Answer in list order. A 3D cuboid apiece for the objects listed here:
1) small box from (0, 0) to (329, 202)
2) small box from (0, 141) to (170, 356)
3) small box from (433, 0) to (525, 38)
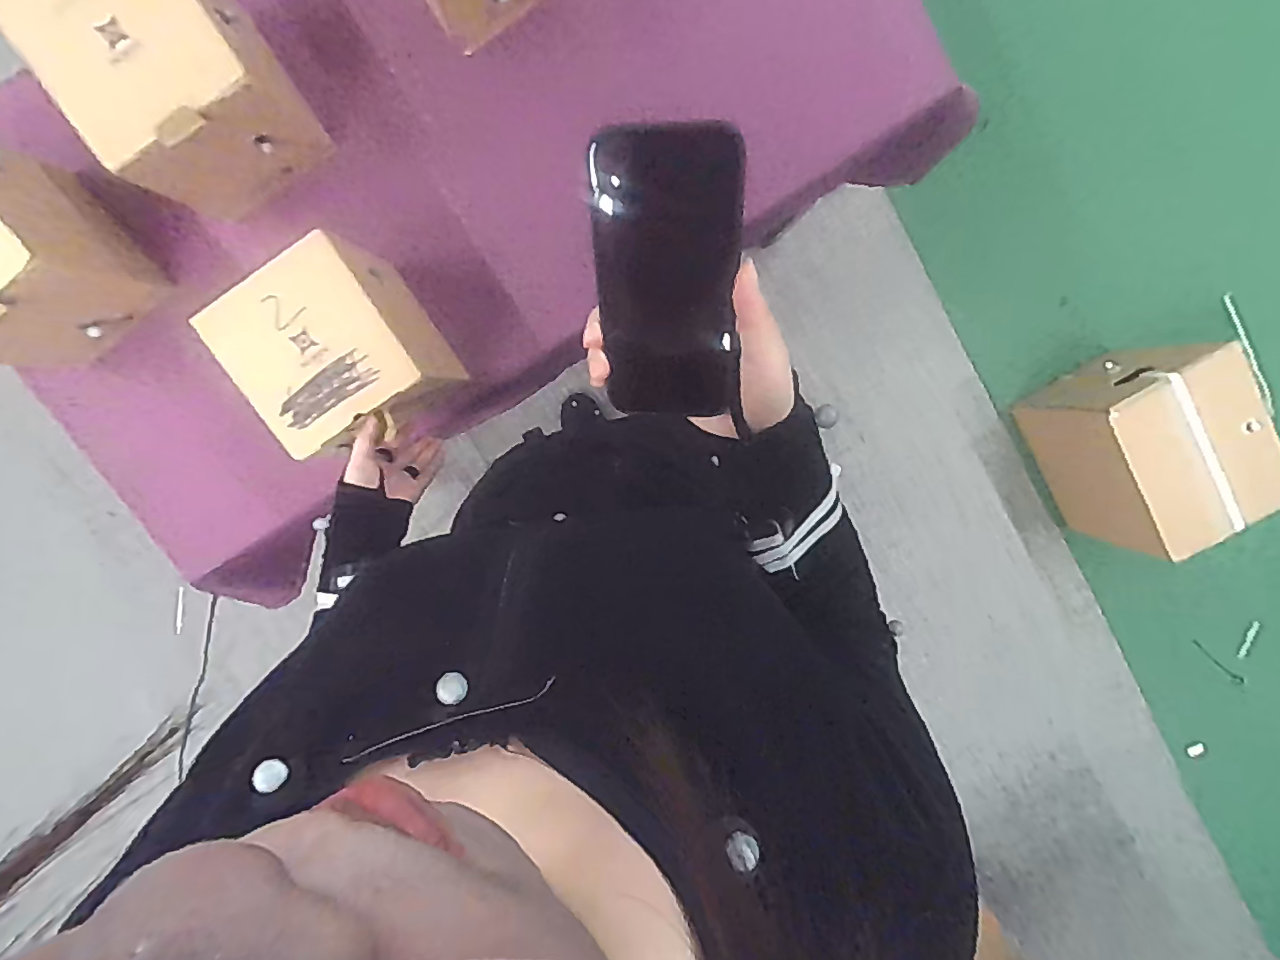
[{"bbox_3d":[-0.481,-0.426,0.575,0.168,0.176,0.179,-31,100,3],"label":"small box"},{"bbox_3d":[-0.702,-0.254,0.601,0.168,0.176,0.179,-37,99,6],"label":"small box"},{"bbox_3d":[-0.190,-0.616,0.545,0.168,0.176,0.179,-33,100,5],"label":"small box"}]
